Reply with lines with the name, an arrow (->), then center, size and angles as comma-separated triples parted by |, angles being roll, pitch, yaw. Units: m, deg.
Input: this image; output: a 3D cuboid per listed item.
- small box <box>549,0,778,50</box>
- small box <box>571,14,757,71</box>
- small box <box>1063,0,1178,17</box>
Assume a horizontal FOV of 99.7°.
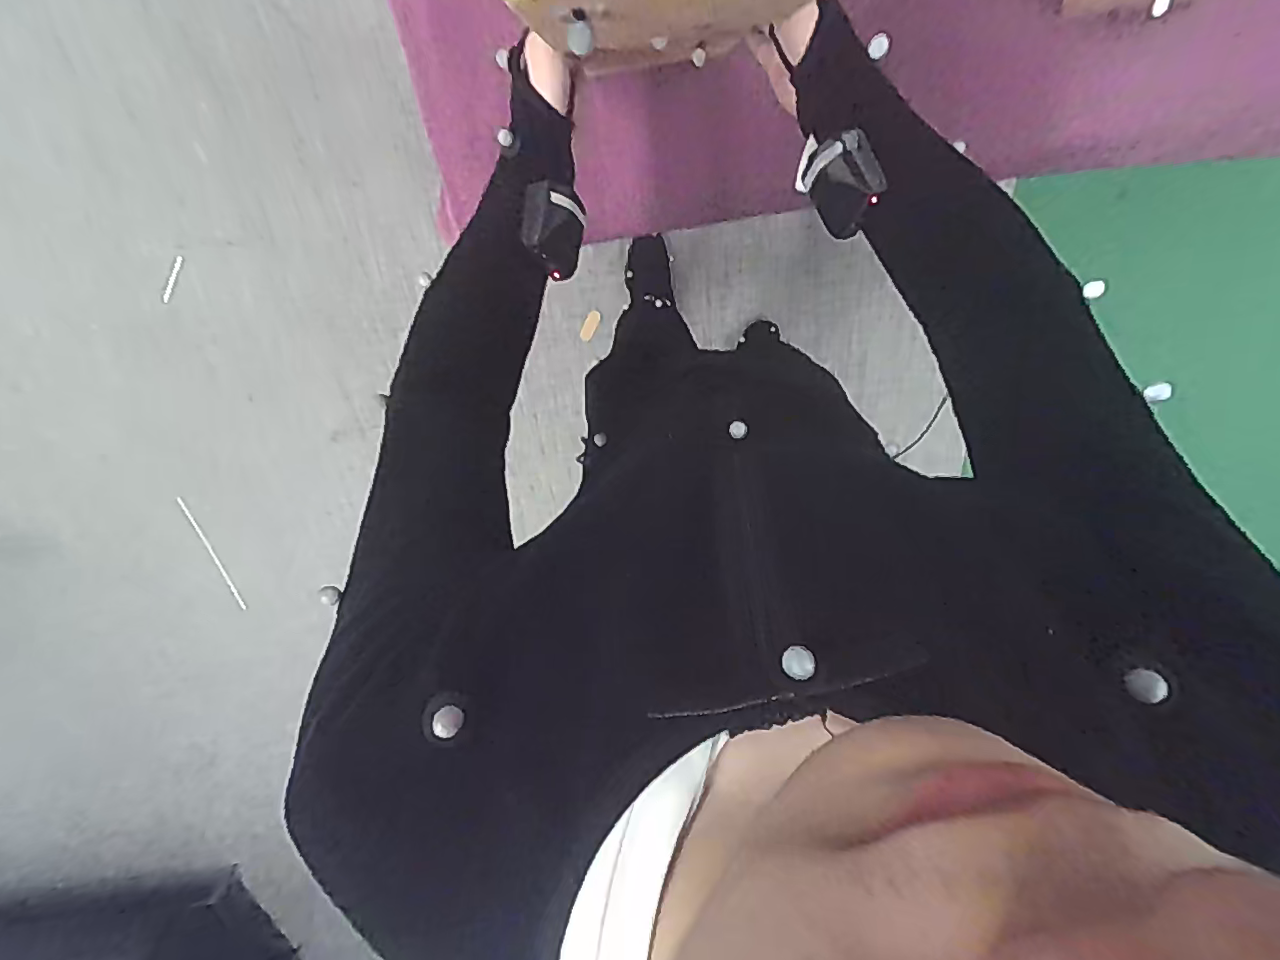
small box -> 0.014, -0.435, 0.392 | 0.179, 0.176, 0.168 | -7, 123, 4
small box -> 0.011, -0.521, 0.529 | 0.179, 0.176, 0.168 | -7, 121, 4
small box -> 0.581, -0.598, 0.537 | 0.179, 0.176, 0.168 | -8, 117, 3
